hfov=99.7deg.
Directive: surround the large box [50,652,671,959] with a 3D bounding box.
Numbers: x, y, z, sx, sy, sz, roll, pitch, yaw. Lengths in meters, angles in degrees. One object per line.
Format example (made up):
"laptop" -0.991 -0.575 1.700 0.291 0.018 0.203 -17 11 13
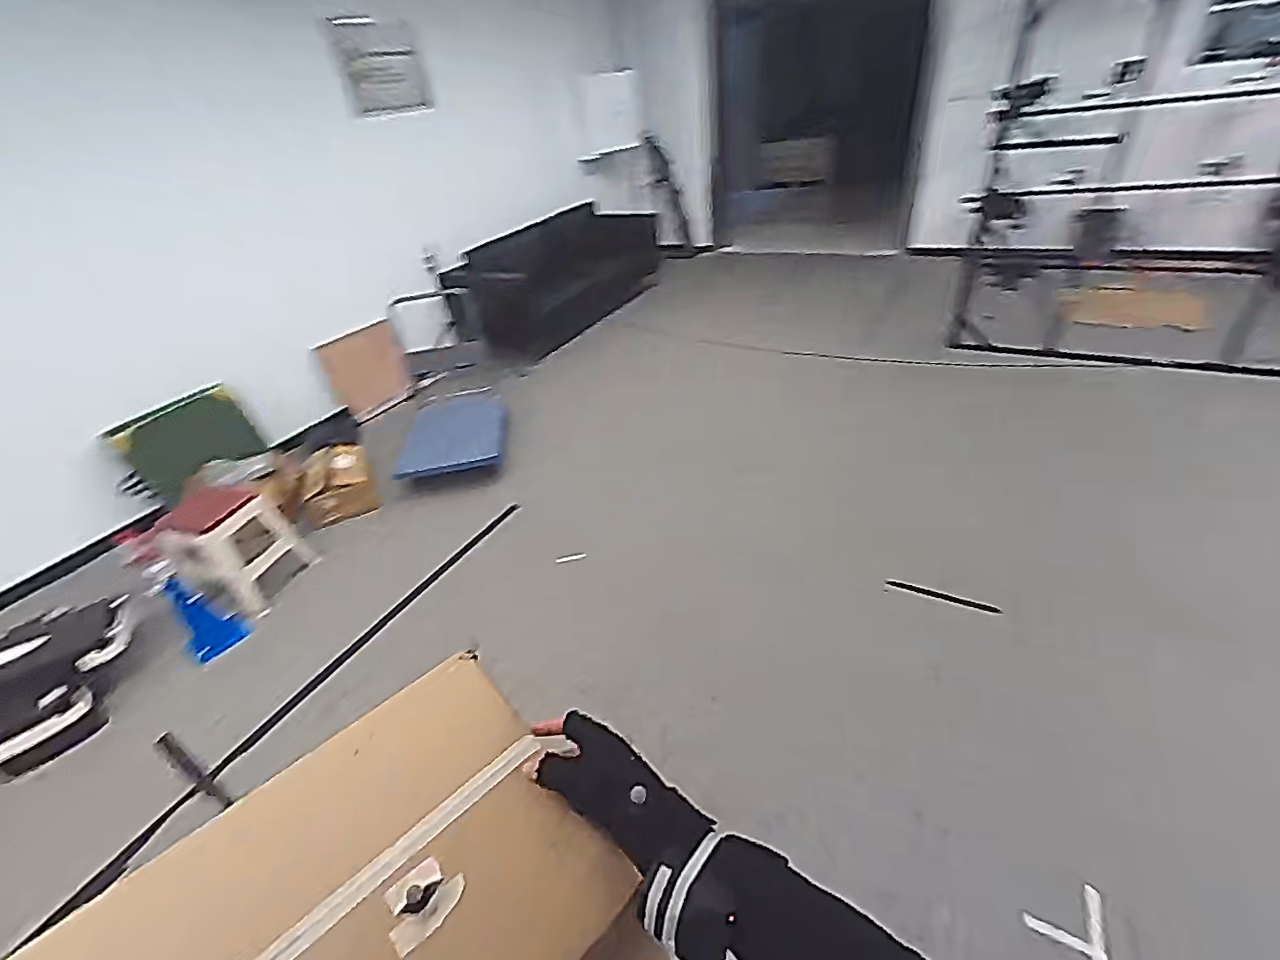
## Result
"large box" -0.221 0.467 0.524 0.408 0.320 0.320 -31 42 -29
